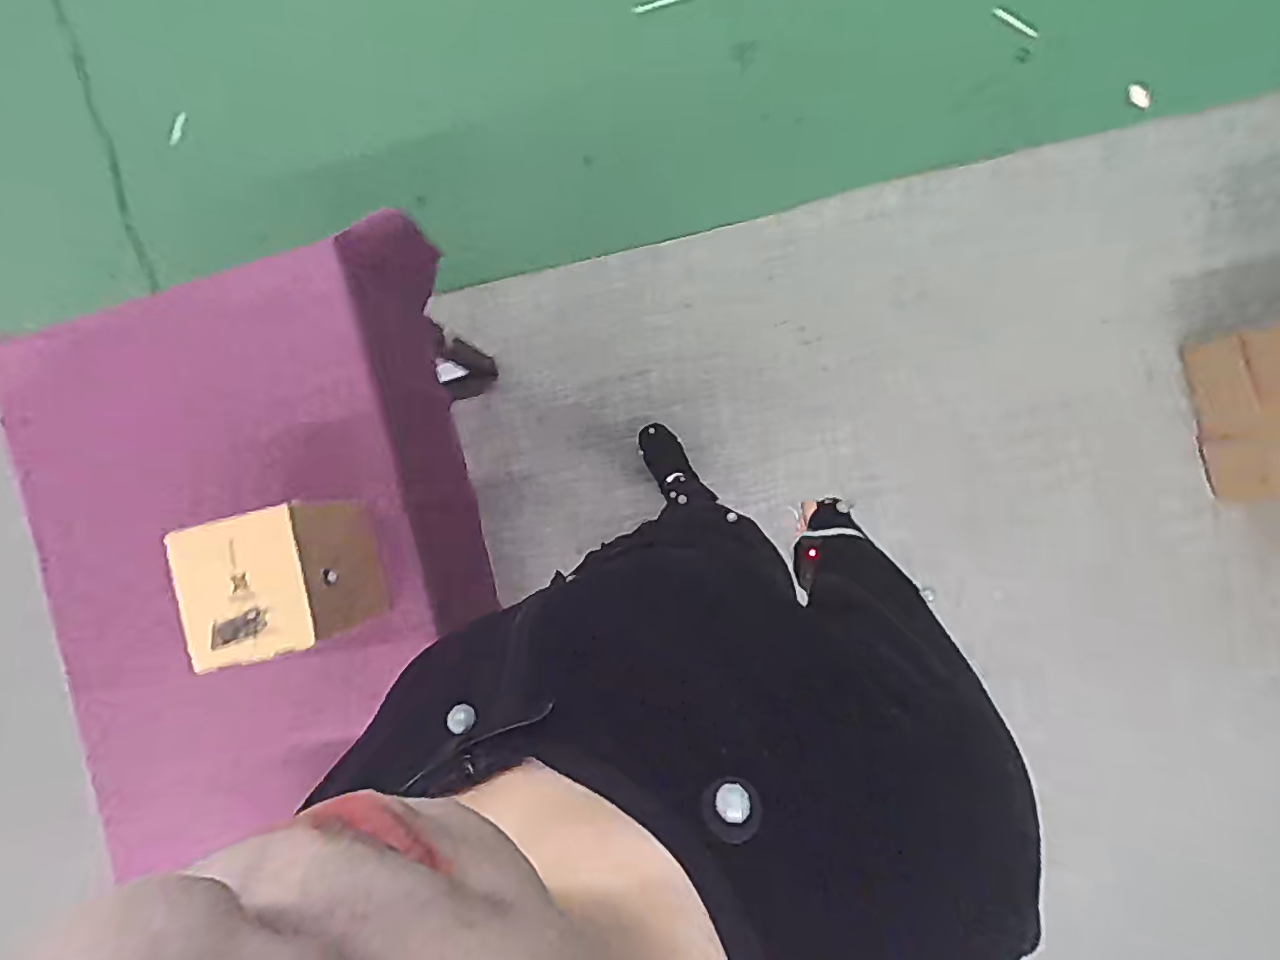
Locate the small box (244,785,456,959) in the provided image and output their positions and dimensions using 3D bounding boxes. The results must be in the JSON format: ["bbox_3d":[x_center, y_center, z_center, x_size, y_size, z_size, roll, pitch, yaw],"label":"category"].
[{"bbox_3d":[-0.379,0.549,0.734,0.179,0.176,0.168,-13,90,6],"label":"small box"}]

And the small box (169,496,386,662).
[{"bbox_3d":[-0.478,0.124,0.740,0.168,0.176,0.179,-13,89,5],"label":"small box"}]
